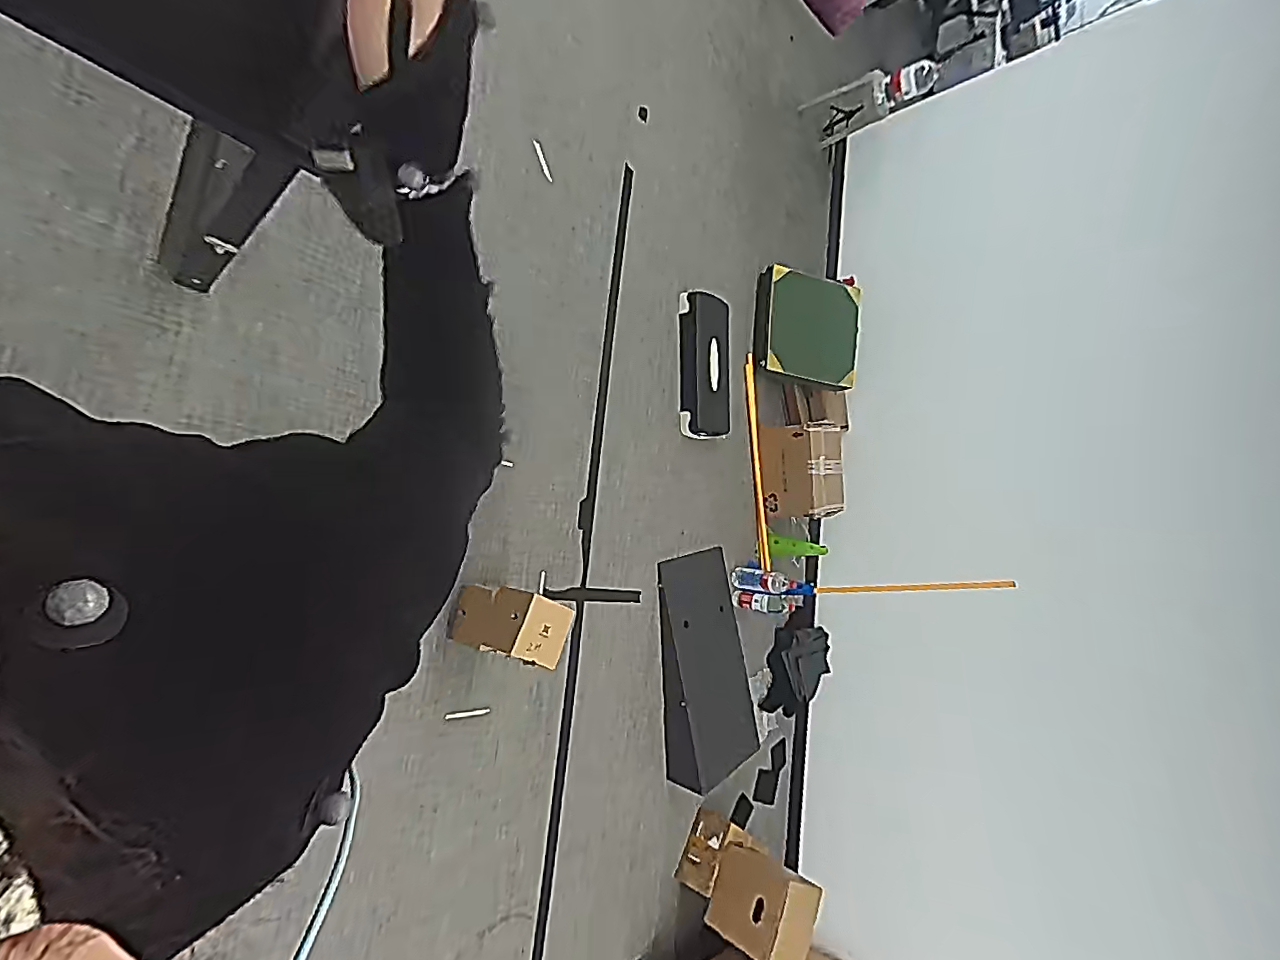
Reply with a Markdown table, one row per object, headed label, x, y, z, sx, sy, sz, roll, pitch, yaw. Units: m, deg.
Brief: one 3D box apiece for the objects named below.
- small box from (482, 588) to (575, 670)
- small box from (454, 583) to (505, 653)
| label | x | y | z | sx | sy | sz | roll | pitch | yaw |
| --- | --- | --- | --- | --- | --- | --- | --- | --- | --- |
| small box | -0.322 | 0.422 | 1.550 | 0.168 | 0.176 | 0.179 | 38 | 62 | -40 |
| small box | -0.447 | 0.423 | 1.659 | 0.168 | 0.176 | 0.179 | 22 | 74 | -46 |
